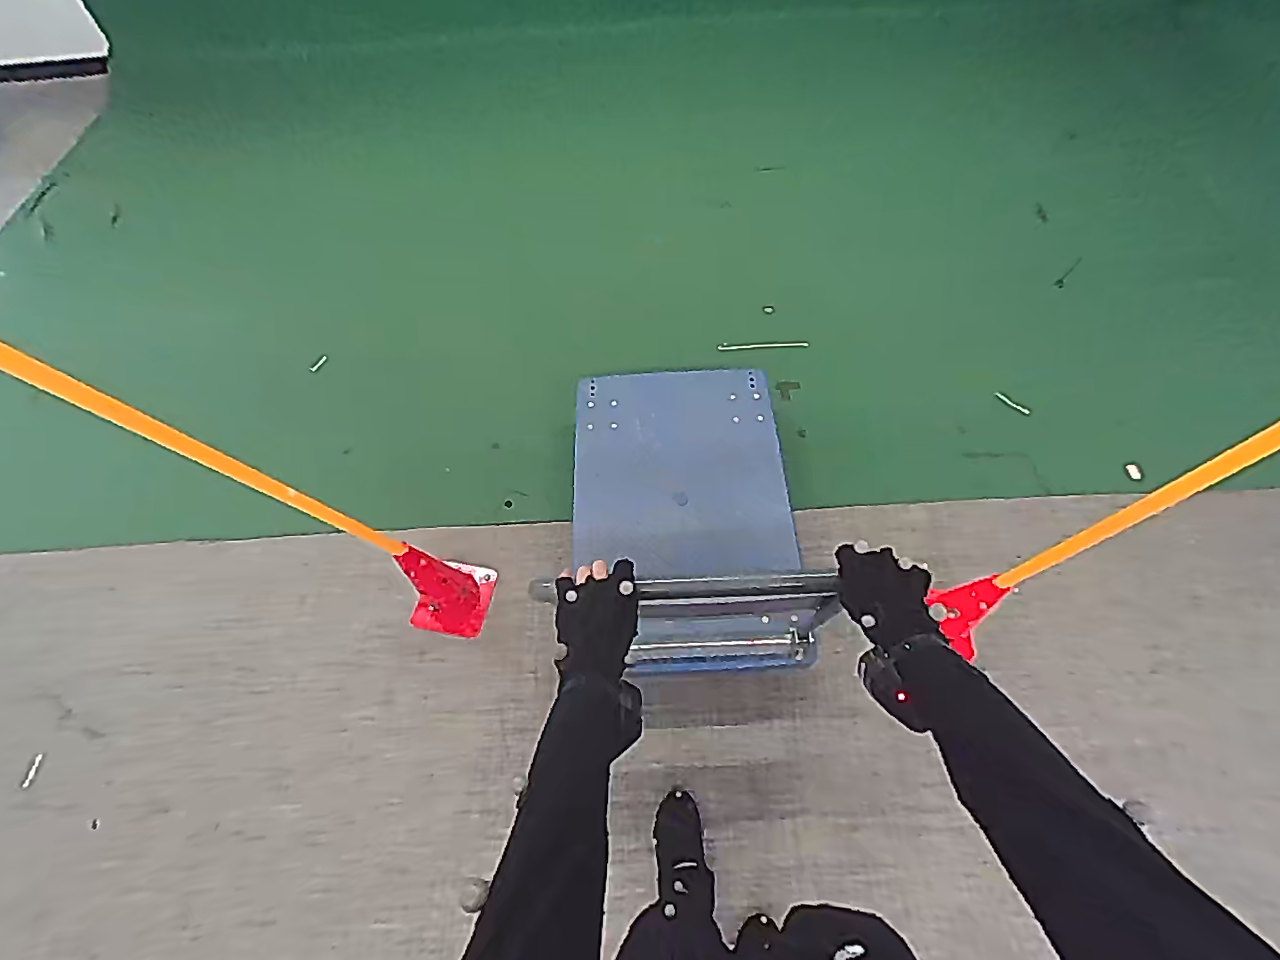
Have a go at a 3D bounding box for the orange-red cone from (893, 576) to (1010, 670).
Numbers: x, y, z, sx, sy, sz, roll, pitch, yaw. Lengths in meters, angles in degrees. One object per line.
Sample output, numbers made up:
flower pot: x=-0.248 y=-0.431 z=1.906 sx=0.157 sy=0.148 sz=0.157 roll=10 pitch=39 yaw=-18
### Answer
orange-red cone: x=0.759 y=0.304 z=1.269 sx=0.198 sy=0.360 sz=0.199 roll=7 pitch=62 yaw=8
